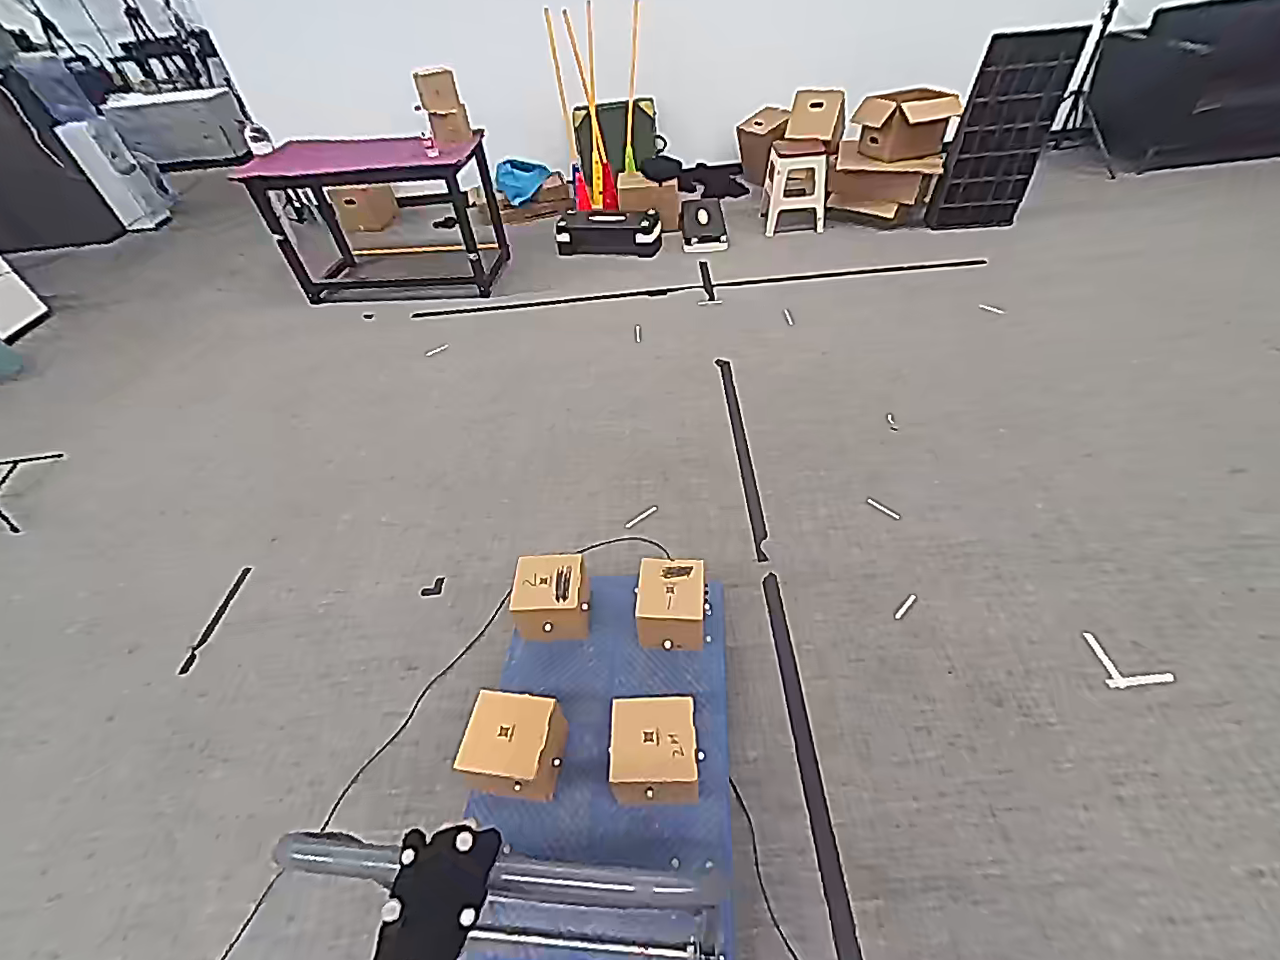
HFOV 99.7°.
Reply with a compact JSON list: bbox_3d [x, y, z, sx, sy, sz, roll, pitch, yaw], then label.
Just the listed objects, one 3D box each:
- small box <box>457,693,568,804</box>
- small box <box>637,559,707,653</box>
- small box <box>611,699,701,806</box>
[{"bbox_3d":[-0.270,0.592,1.190,0.179,0.176,0.168,4,46,8],"label":"small box"},{"bbox_3d":[0.088,0.327,1.406,0.168,0.176,0.179,1,47,7],"label":"small box"},{"bbox_3d":[0.039,0.586,1.158,0.179,0.176,0.168,-3,46,4],"label":"small box"}]
